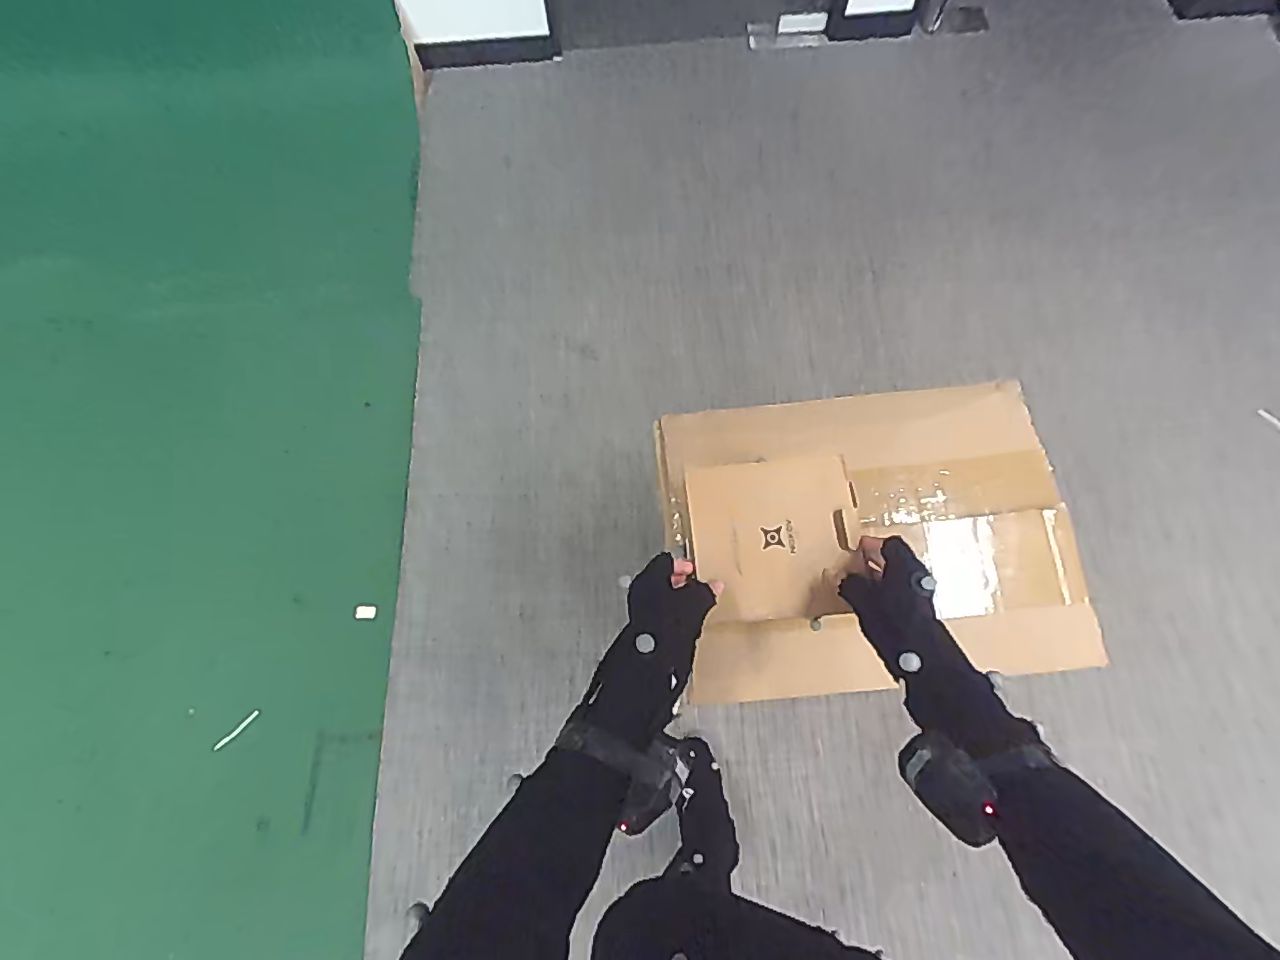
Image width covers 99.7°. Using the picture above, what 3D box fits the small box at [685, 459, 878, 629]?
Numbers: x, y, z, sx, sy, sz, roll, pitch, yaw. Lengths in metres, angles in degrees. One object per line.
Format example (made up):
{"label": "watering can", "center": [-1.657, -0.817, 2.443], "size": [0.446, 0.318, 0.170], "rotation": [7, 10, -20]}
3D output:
{"label": "small box", "center": [0.151, 0.084, 0.642], "size": [0.179, 0.176, 0.168], "rotation": [-7, 74, 2]}
